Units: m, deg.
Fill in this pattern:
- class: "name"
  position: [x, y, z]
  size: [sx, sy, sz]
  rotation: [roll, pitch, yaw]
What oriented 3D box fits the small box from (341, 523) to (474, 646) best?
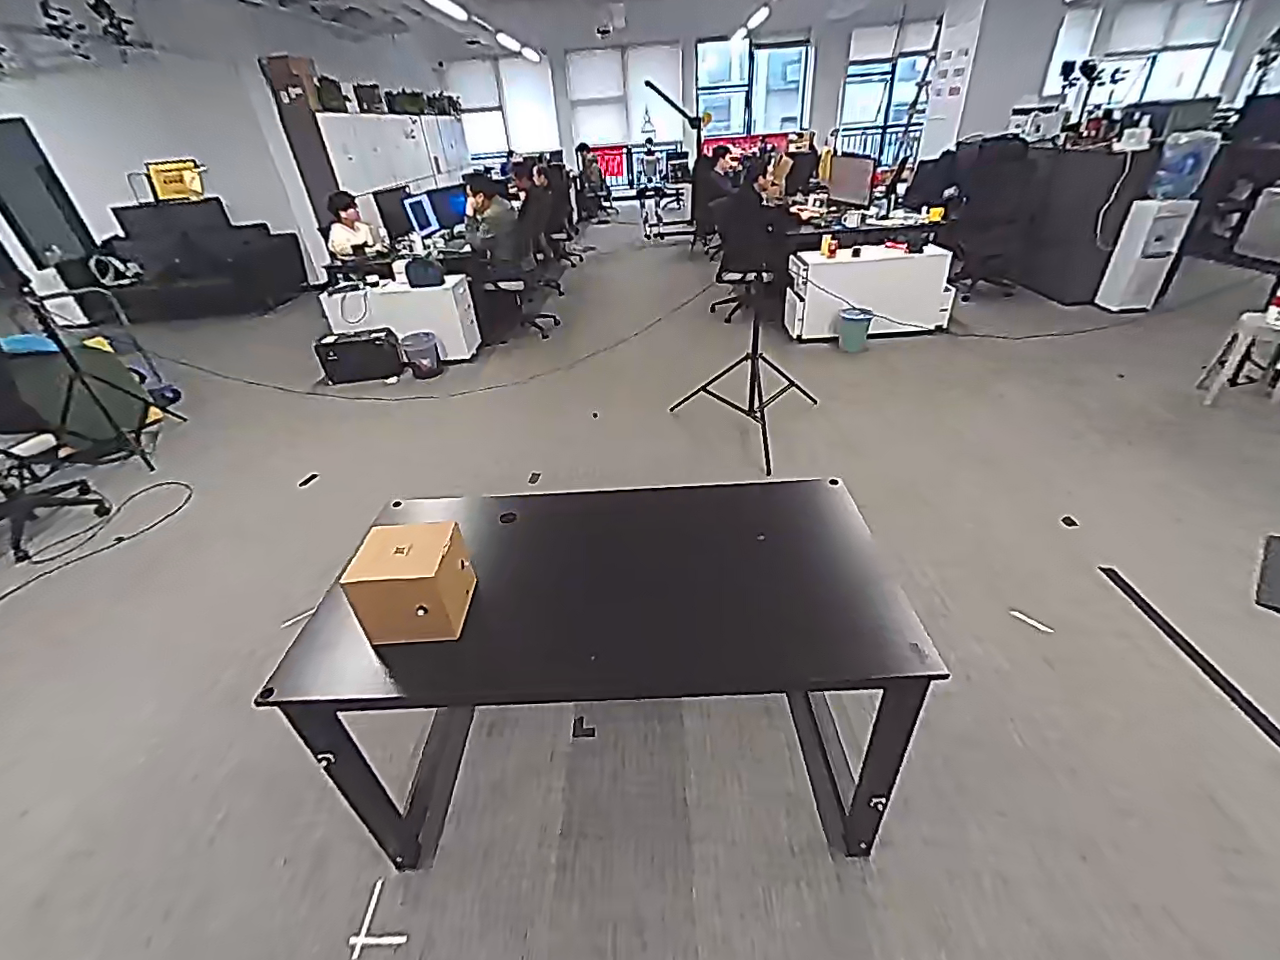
- class: "small box"
  position: [-0.444, 0.206, 1.069]
  size: [0.179, 0.176, 0.168]
  rotation: [-5, 32, 1]
